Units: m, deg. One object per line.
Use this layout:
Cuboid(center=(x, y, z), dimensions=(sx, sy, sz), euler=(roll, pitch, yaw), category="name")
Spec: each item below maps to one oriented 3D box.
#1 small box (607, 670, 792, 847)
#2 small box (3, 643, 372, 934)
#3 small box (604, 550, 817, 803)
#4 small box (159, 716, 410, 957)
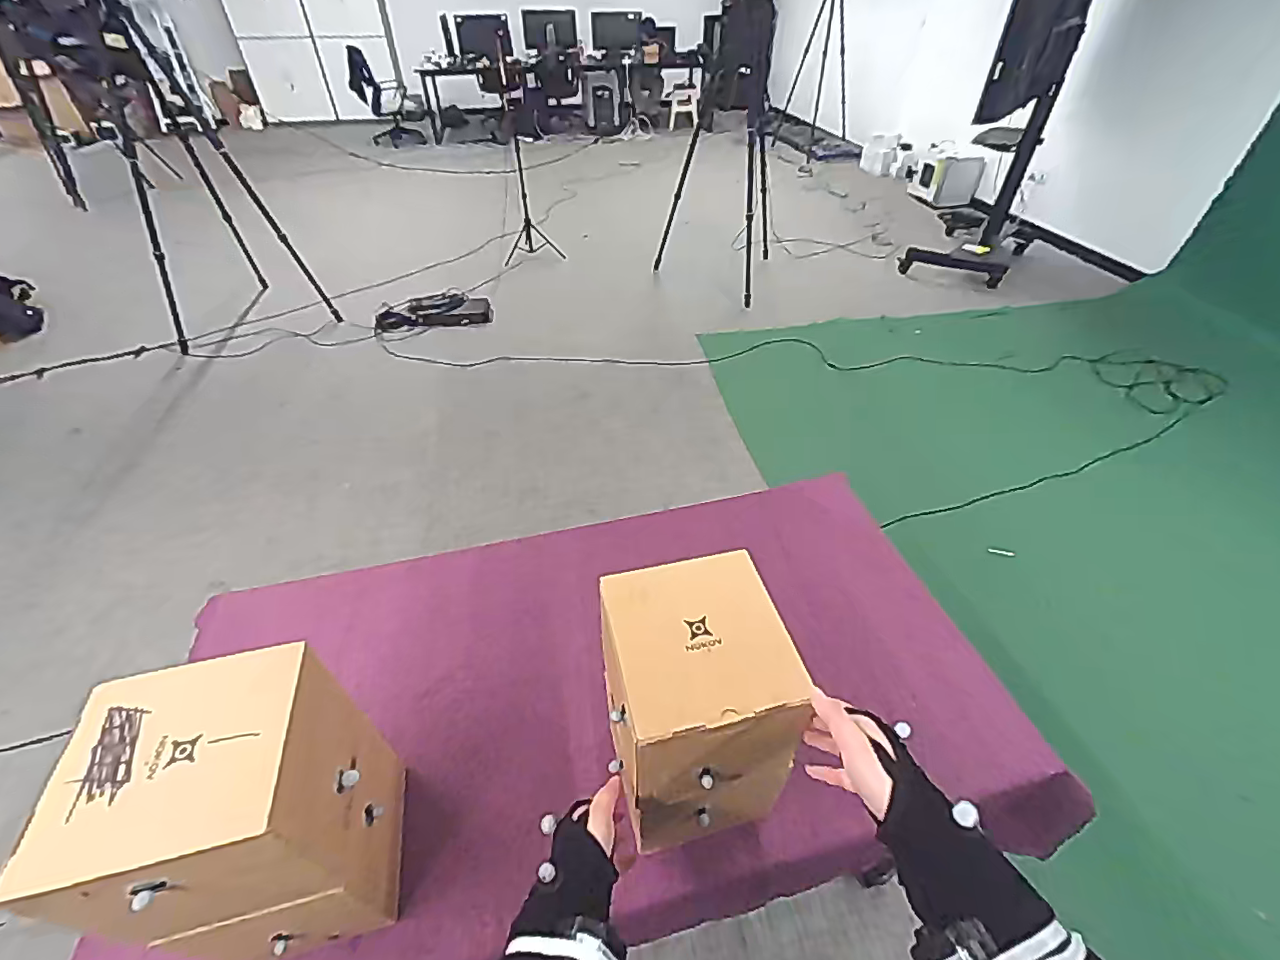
Cuboid(center=(0.066, 0.328, 0.678), dimensions=(0.179, 0.176, 0.168), euler=(-12, 45, -10), category="small box")
Cuboid(center=(-0.374, 0.281, 0.496), dimensions=(0.179, 0.176, 0.168), euler=(-10, 44, -10), category="small box")
Cuboid(center=(0.058, 0.204, 0.572), dimensions=(0.168, 0.176, 0.179), euler=(-10, 44, -10), category="small box")
Cuboid(center=(-0.370, 0.402, 0.609), dimensions=(0.168, 0.176, 0.179), euler=(-10, 43, -10), category="small box")
